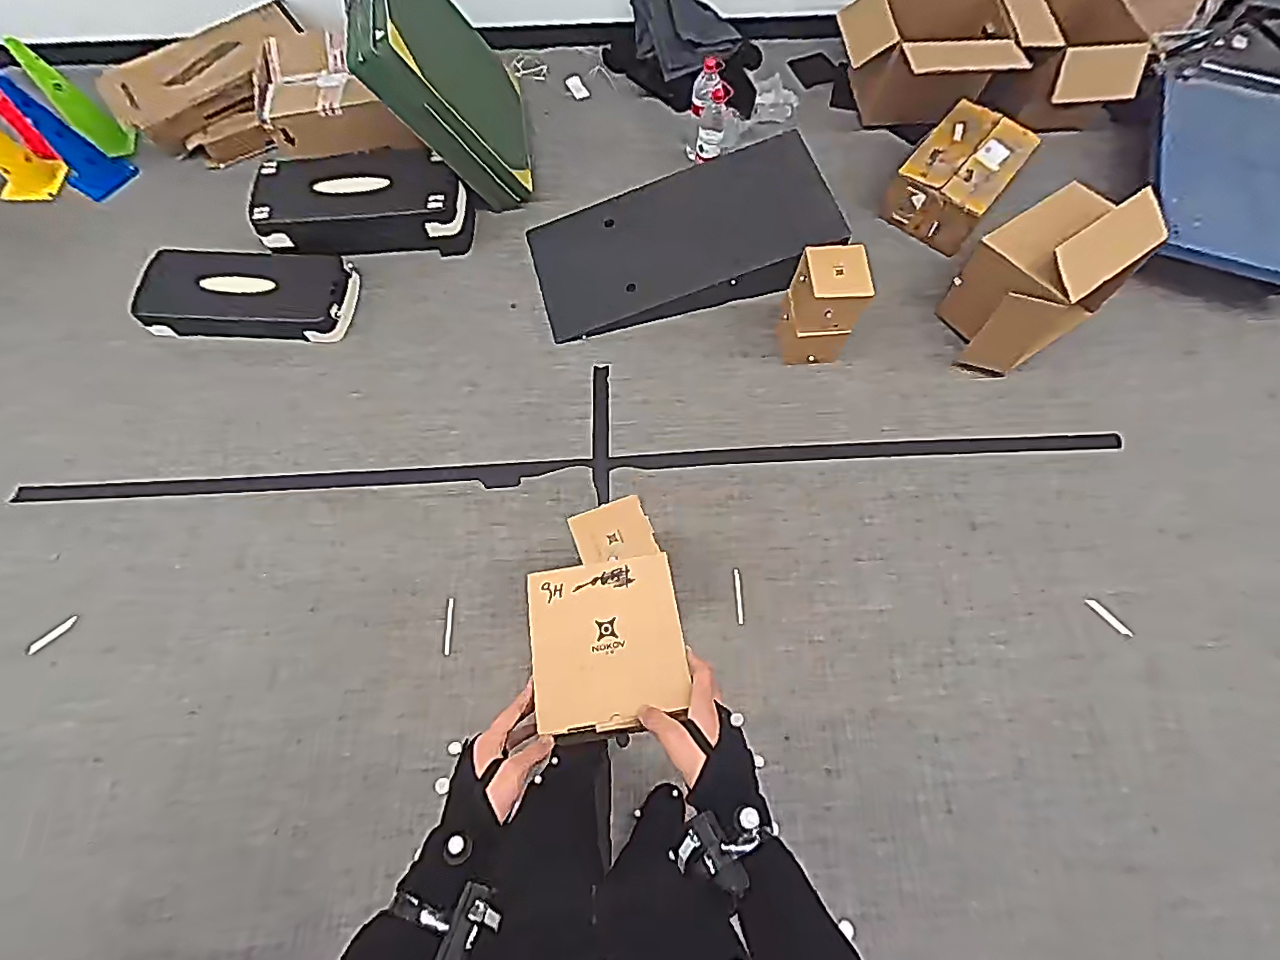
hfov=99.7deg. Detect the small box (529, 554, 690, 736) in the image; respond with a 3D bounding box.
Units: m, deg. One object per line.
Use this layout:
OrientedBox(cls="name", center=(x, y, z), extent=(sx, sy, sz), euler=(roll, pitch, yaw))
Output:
OrientedBox(cls="small box", center=(-0.035, 0.211, 0.665), extent=(0.168, 0.176, 0.179), euler=(-8, 61, -3))
